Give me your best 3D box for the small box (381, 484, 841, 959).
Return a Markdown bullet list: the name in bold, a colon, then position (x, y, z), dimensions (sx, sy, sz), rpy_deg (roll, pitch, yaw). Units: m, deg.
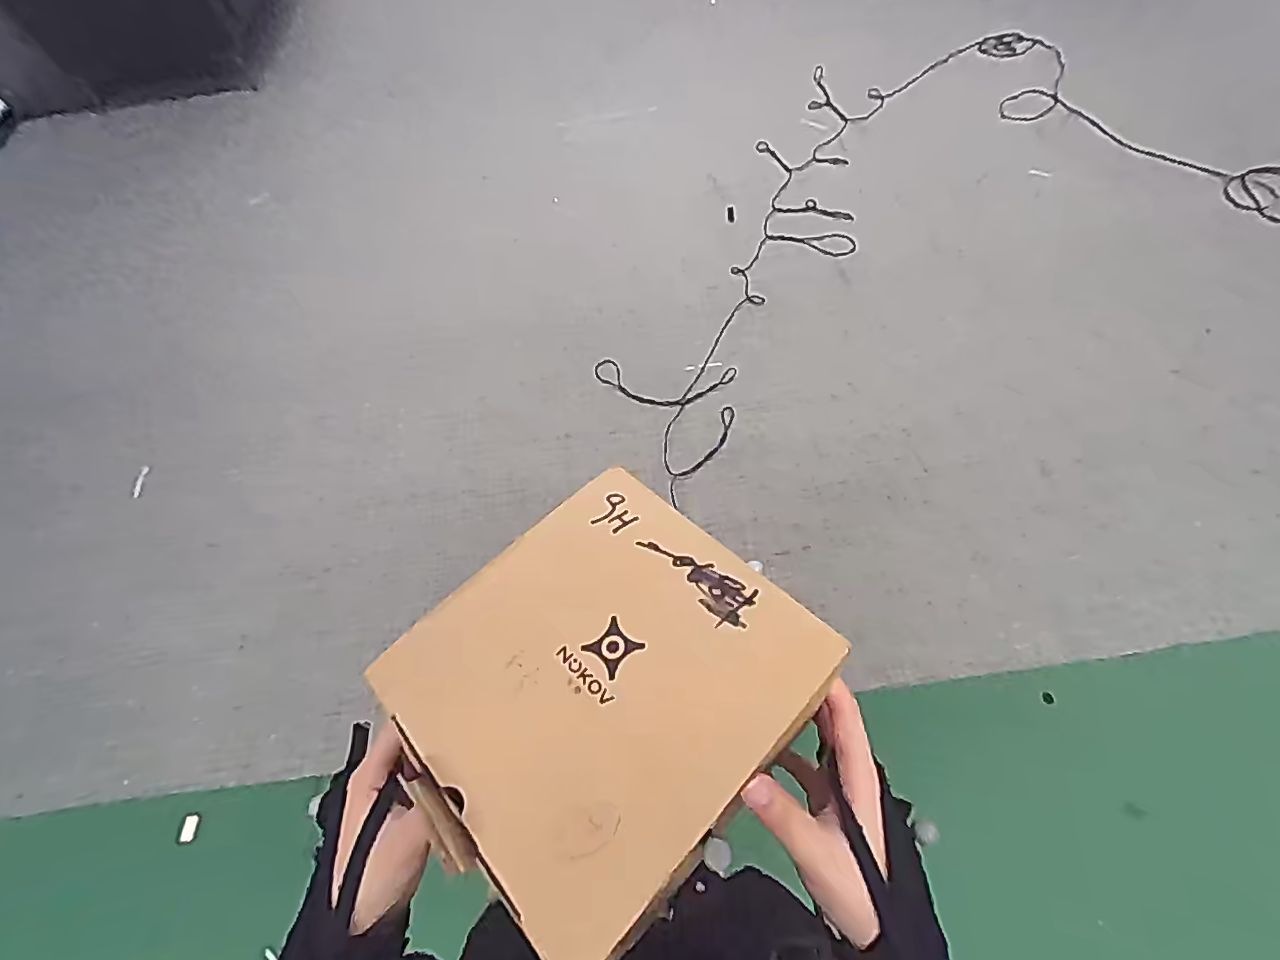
- **small box**: position (-0.008, 0.143, 0.329), dimensions (0.179, 0.176, 0.168), rpy_deg (-41, 59, -20)
